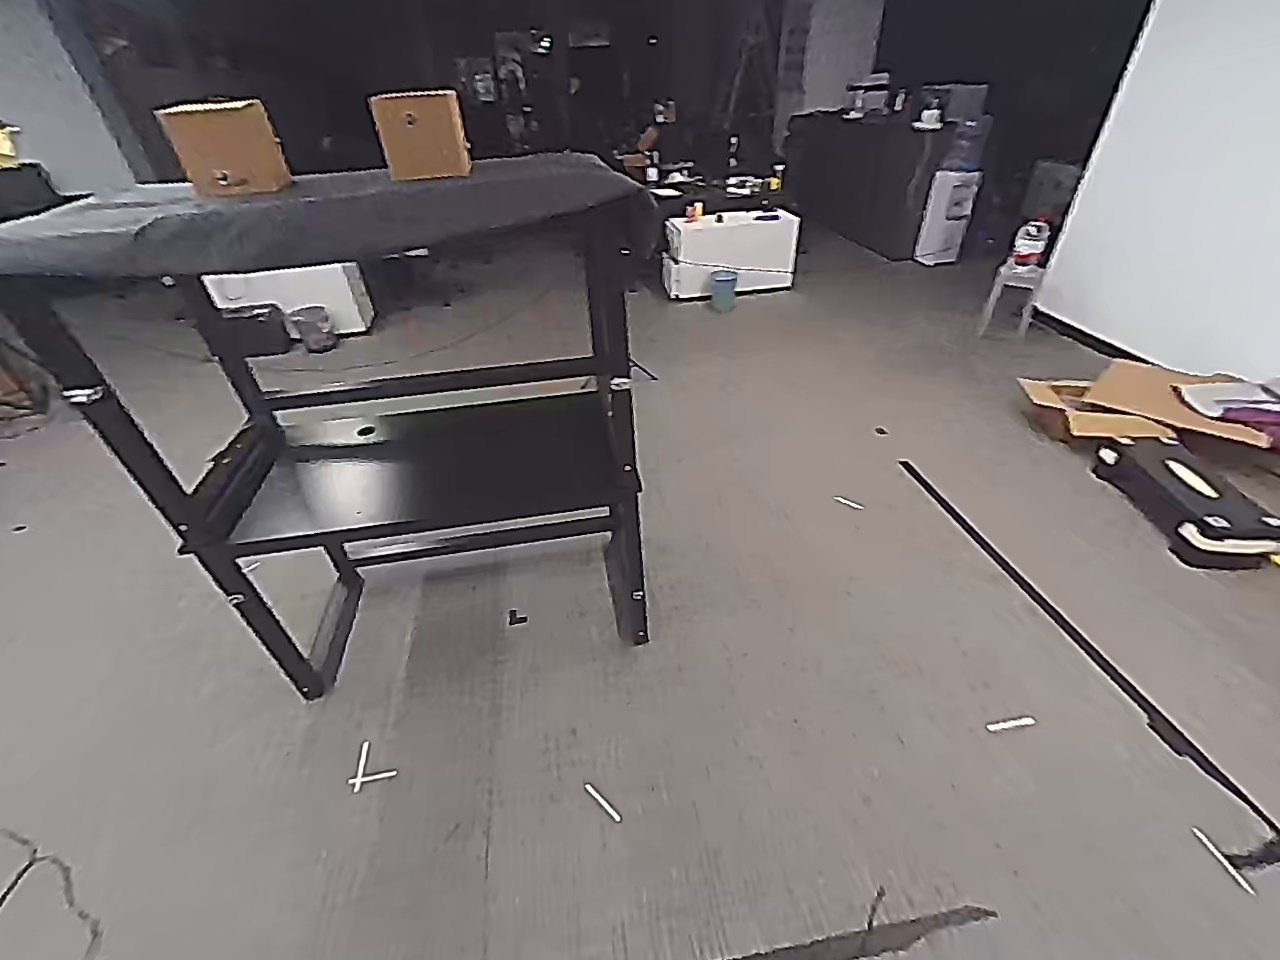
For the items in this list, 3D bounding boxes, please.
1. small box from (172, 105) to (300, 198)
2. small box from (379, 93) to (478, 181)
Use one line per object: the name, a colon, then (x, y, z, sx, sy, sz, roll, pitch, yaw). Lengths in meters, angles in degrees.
small box: (-0.936, -0.775, 1.275, 0.168, 0.176, 0.179, -13, 39, -10)
small box: (-0.513, -0.848, 1.337, 0.179, 0.176, 0.168, -8, 38, -6)
